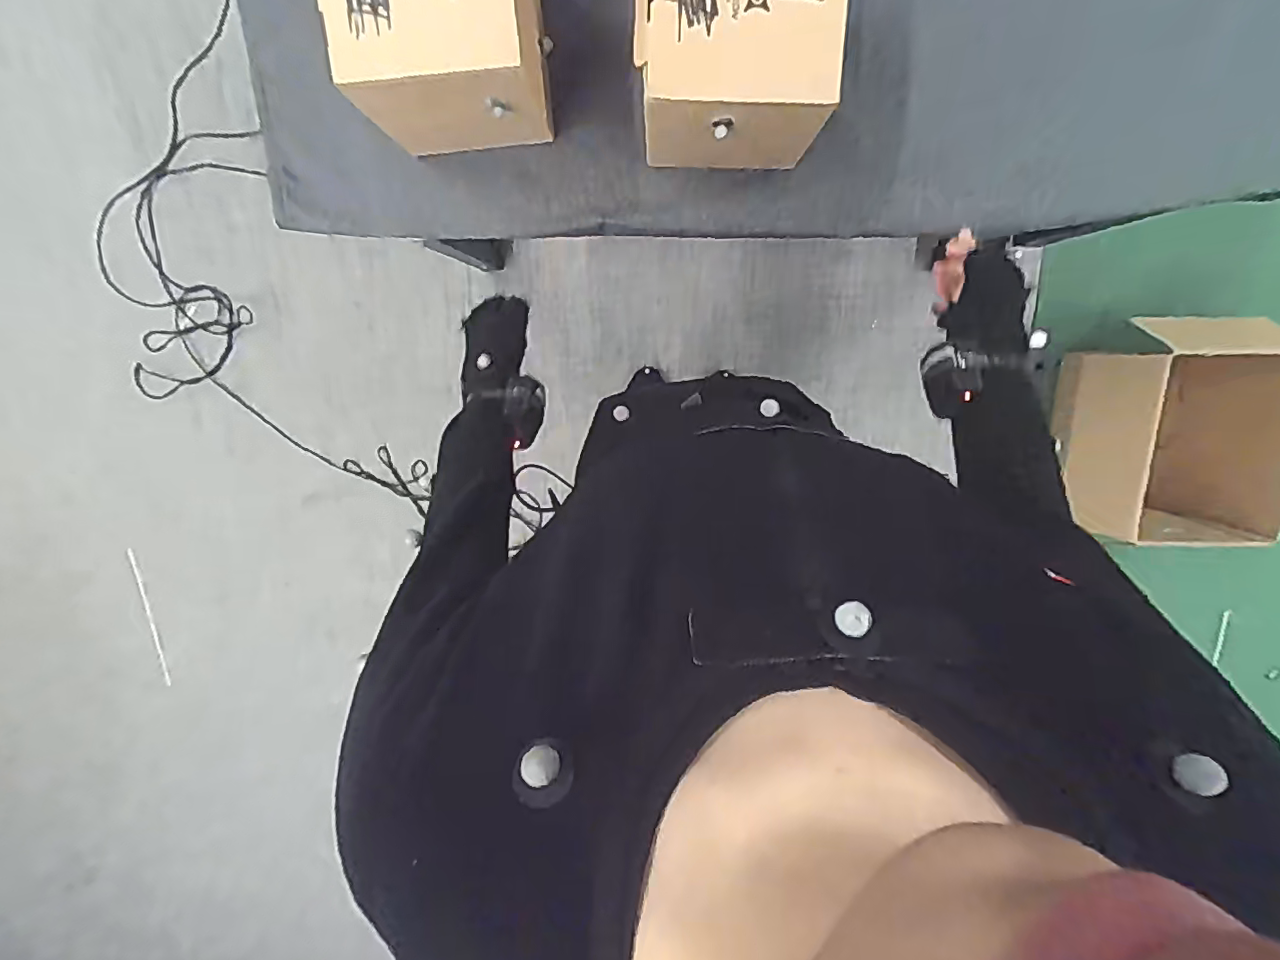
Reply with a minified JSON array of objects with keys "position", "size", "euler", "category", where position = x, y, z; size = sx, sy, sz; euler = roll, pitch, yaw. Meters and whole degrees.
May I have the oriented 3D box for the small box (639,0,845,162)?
[{"position":[0.092,-0.435,0.539],"size":[0.179,0.176,0.168],"euler":[1,103,1],"category":"small box"}]
